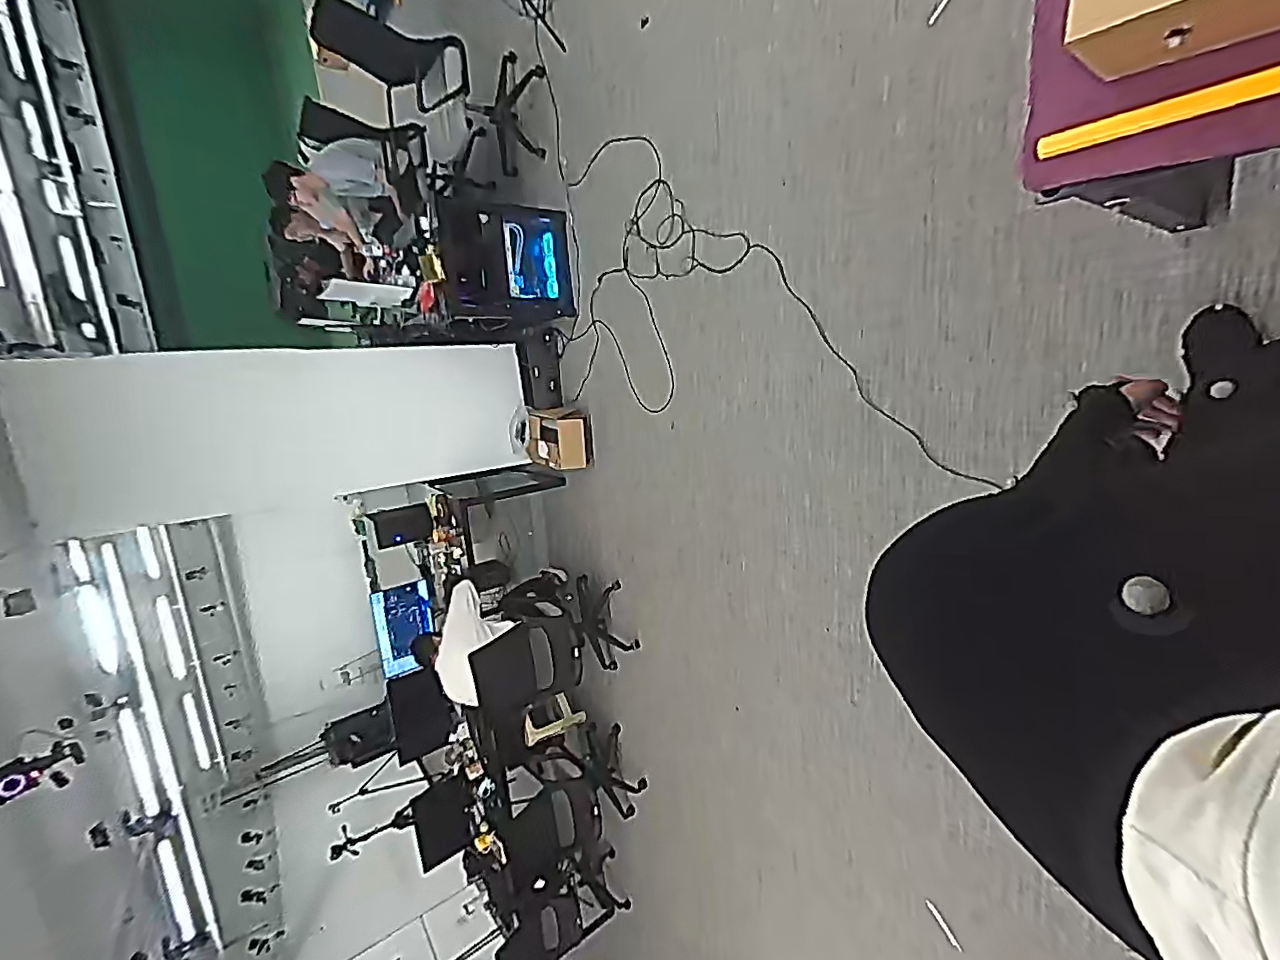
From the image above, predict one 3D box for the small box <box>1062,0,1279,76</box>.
[{"bbox_3d":[0.563,-0.542,0.537,0.179,0.176,0.168,17,114,50],"label":"small box"}]
